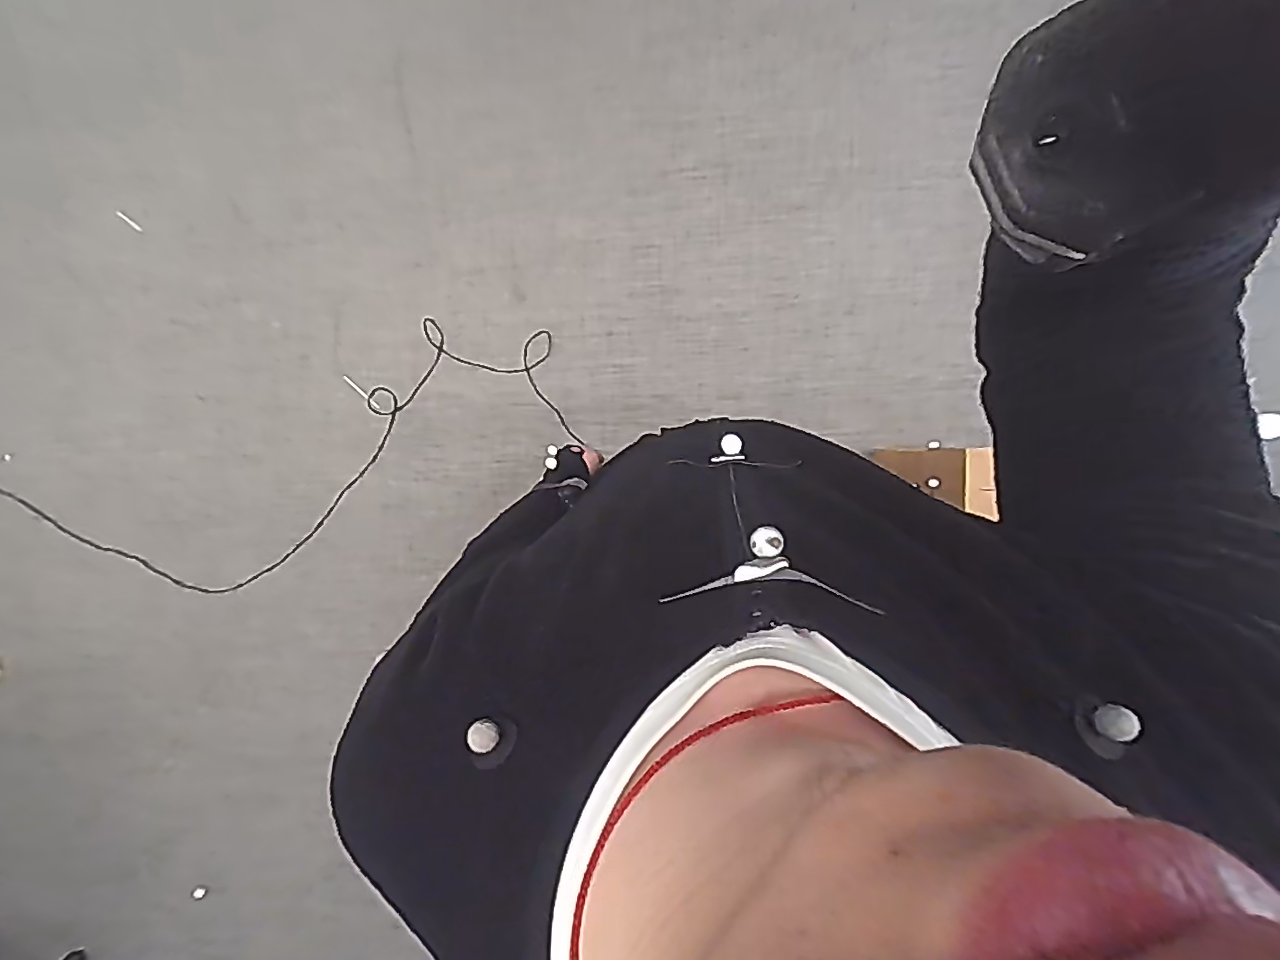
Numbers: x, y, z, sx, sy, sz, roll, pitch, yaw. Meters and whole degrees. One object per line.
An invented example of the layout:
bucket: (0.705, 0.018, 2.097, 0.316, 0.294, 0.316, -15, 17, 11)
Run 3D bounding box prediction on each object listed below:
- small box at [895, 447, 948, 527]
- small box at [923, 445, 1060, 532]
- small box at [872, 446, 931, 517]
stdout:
small box: (0.717, 0.010, 1.276, 0.168, 0.176, 0.179, -2, 96, 5)
small box: (0.711, 0.012, 1.109, 0.179, 0.176, 0.168, 0, 93, 5)
small box: (0.729, 0.000, 1.436, 0.168, 0.176, 0.179, 0, 94, 4)
